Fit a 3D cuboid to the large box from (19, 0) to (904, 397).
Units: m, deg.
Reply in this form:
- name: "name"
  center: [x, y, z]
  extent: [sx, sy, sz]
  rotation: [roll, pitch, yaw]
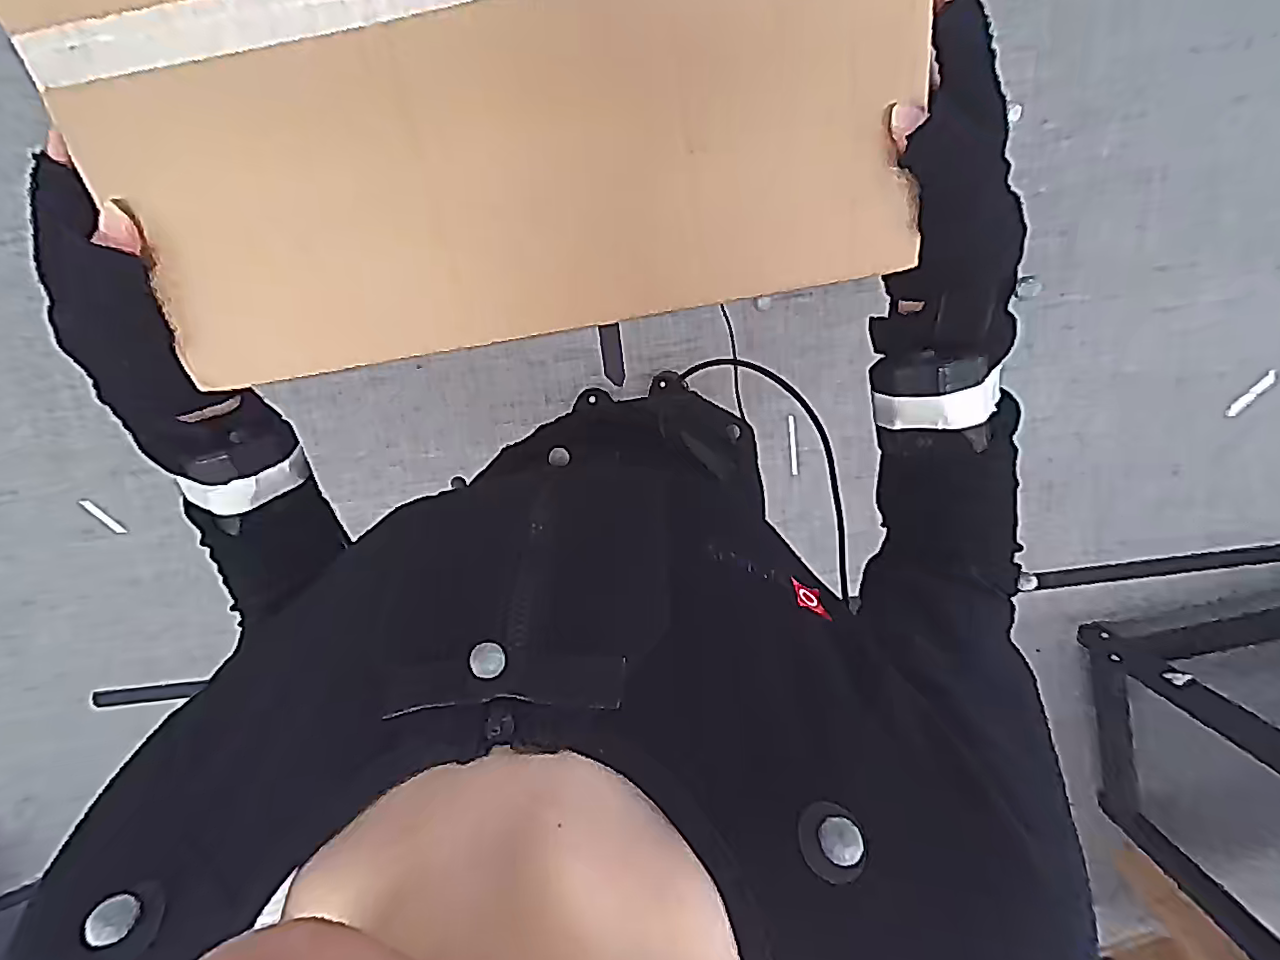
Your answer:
- name: "large box"
  center: [-0.079, -0.281, 0.382]
  extent: [0.408, 0.320, 0.320]
  rotation: [-9, 114, 4]
